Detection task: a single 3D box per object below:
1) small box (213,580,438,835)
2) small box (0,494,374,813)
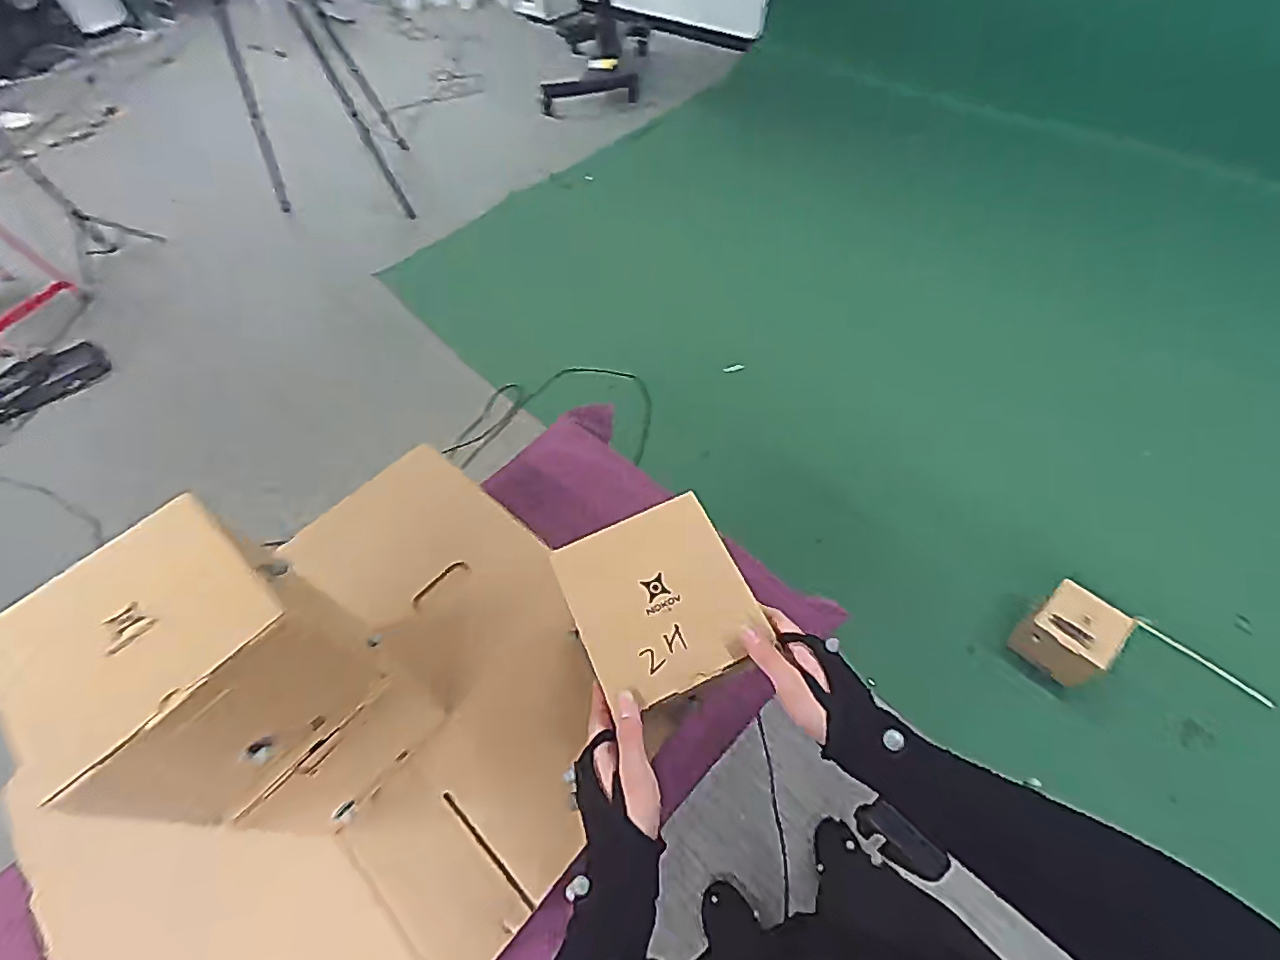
[{"bbox_3d":[-0.354,0.248,0.588,0.179,0.176,0.168,34,63,25],"label":"small box"},{"bbox_3d":[-0.371,0.151,0.458,0.179,0.176,0.168,34,63,23],"label":"small box"}]
